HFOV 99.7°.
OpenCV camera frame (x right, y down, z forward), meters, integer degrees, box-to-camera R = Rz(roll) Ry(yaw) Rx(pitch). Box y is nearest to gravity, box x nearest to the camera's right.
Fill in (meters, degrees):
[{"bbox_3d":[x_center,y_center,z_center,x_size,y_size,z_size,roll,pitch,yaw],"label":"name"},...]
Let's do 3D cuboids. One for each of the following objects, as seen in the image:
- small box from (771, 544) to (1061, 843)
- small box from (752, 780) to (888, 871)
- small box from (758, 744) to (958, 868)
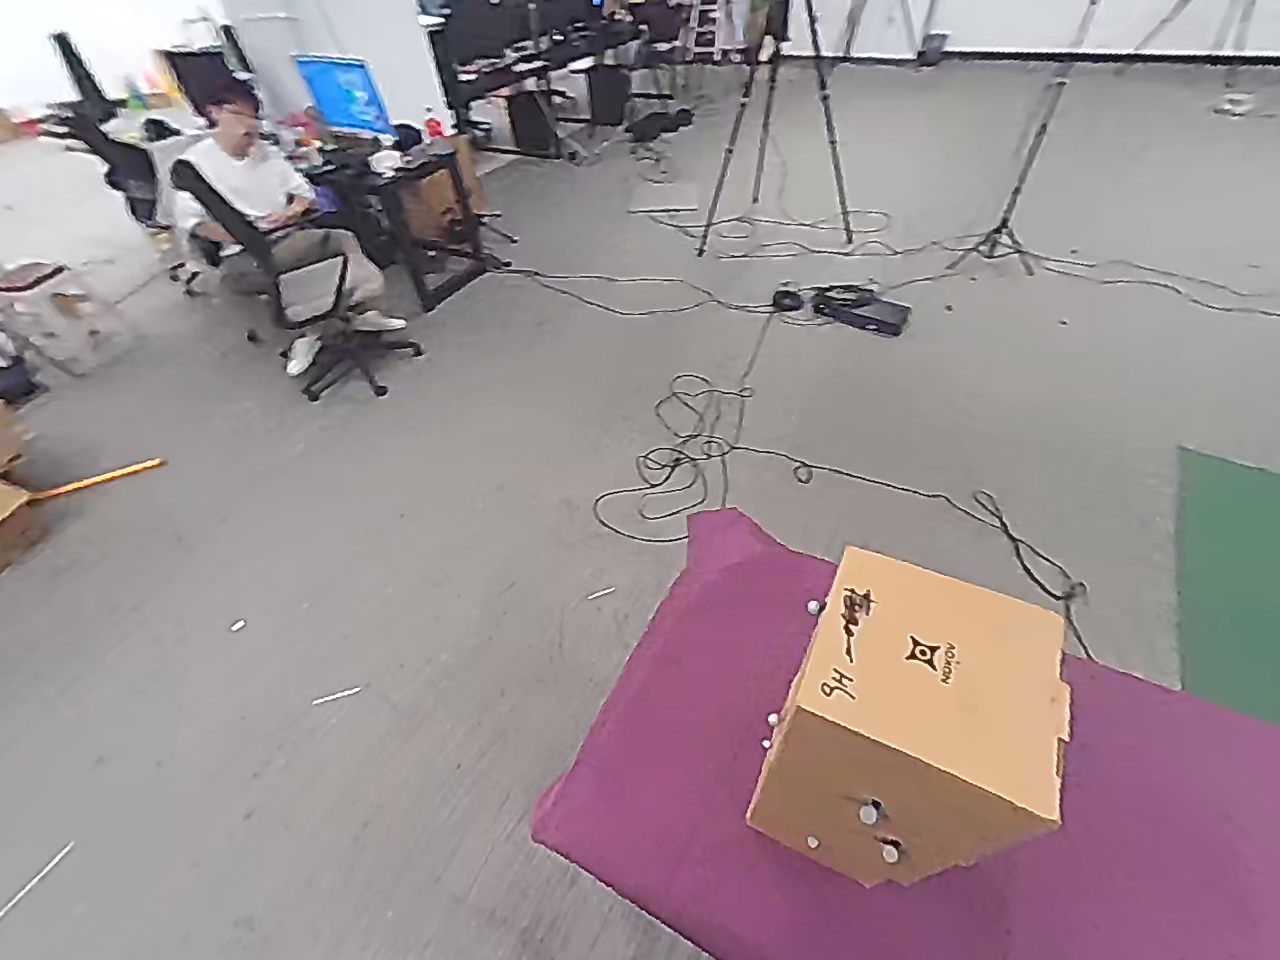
[{"bbox_3d":[0.234,0.194,0.487,0.179,0.176,0.168,20,53,22],"label":"small box"},{"bbox_3d":[0.266,0.401,0.740,0.179,0.176,0.168,18,52,22],"label":"small box"},{"bbox_3d":[0.247,0.301,0.609,0.179,0.176,0.168,20,52,23],"label":"small box"}]
